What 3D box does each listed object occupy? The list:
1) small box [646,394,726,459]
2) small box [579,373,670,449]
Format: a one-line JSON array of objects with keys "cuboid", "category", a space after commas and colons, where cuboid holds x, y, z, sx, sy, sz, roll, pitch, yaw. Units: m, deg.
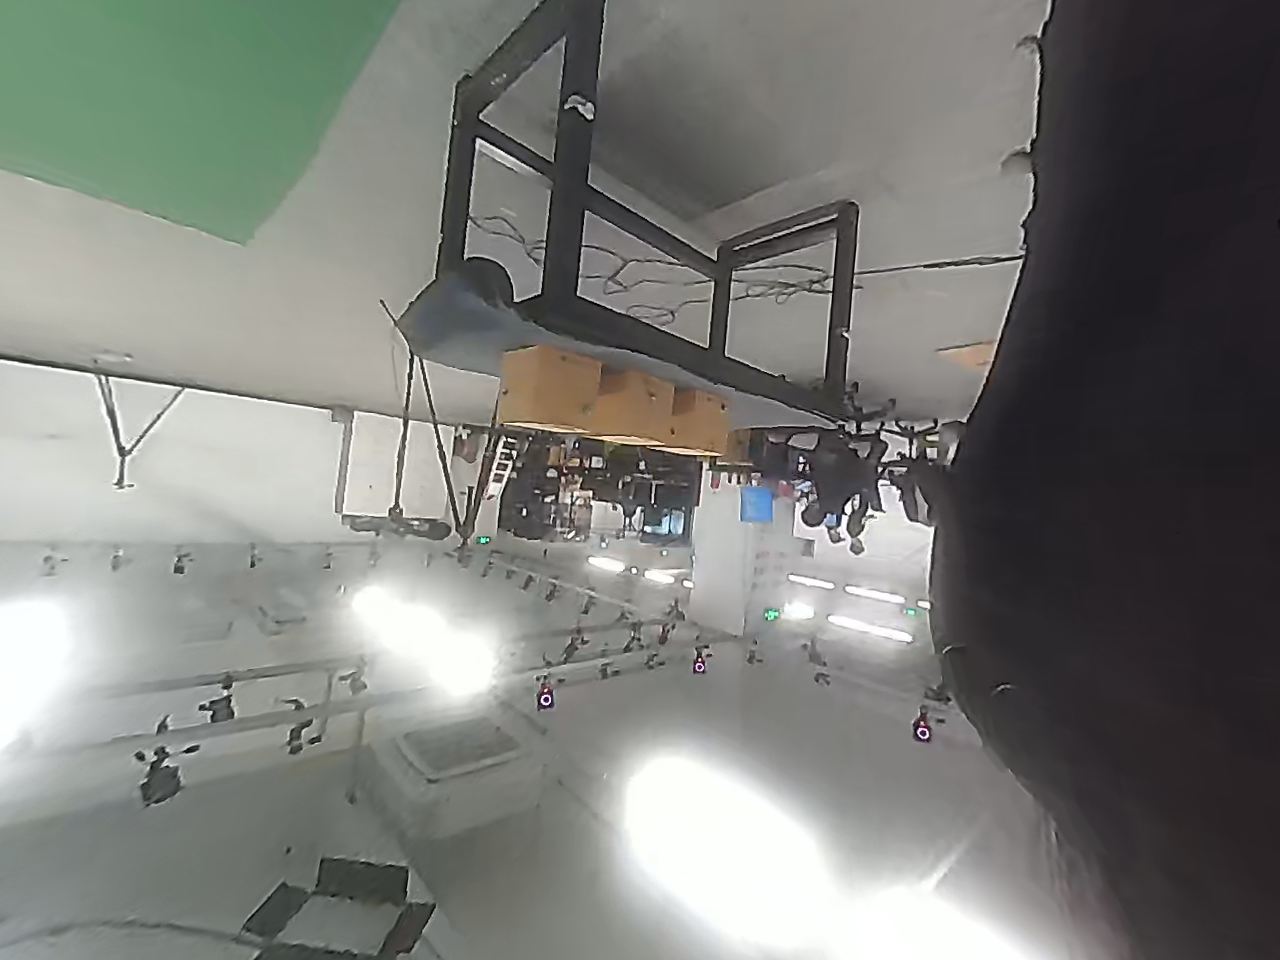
[{"cuboid": [0.139, -0.156, 1.589, 0.179, 0.176, 0.168, 5, 178, 45], "category": "small box"}, {"cuboid": [-0.036, -0.178, 1.422, 0.168, 0.176, 0.179, 7, 178, -43], "category": "small box"}]
